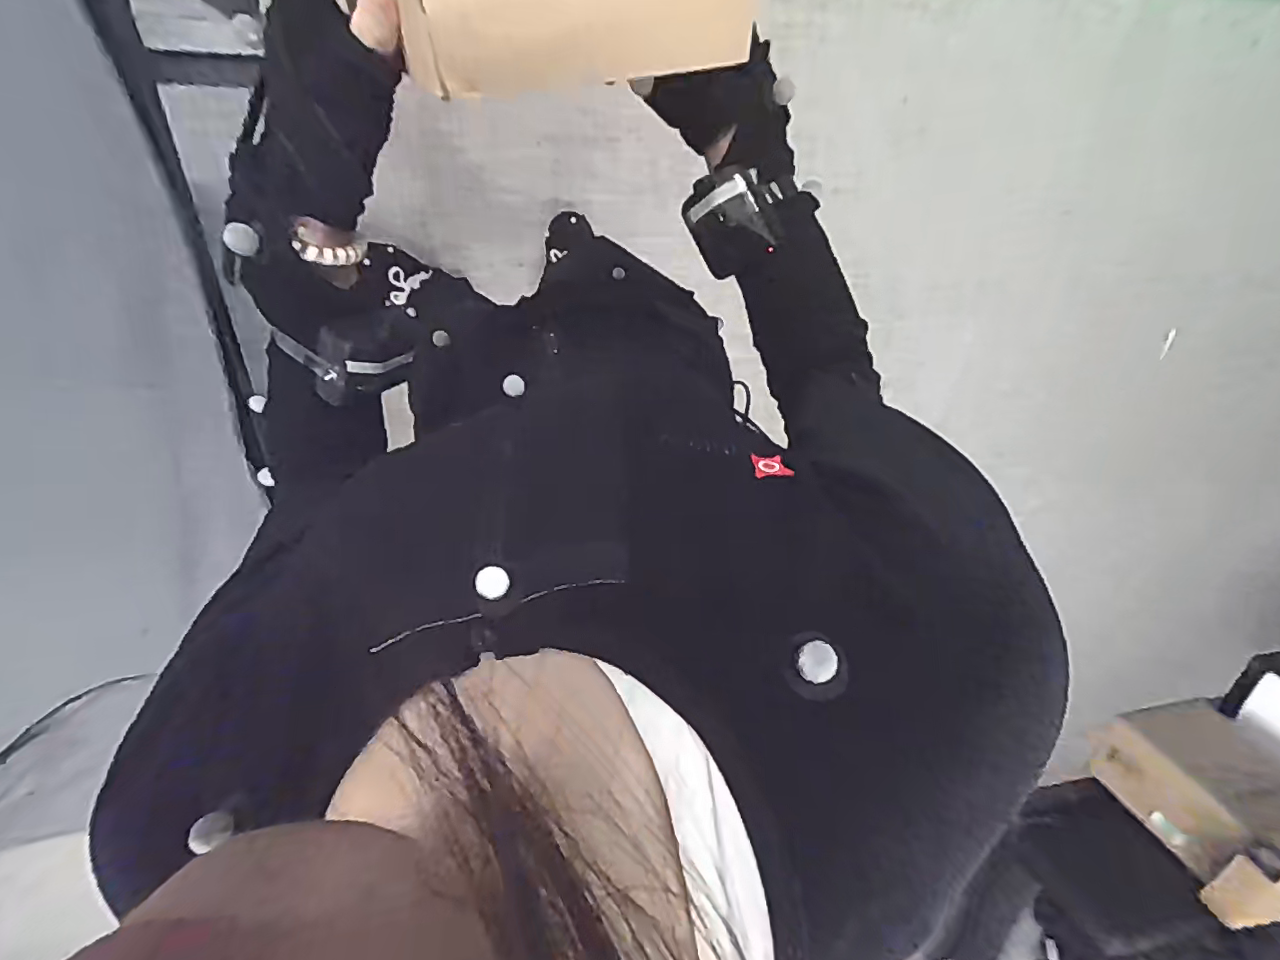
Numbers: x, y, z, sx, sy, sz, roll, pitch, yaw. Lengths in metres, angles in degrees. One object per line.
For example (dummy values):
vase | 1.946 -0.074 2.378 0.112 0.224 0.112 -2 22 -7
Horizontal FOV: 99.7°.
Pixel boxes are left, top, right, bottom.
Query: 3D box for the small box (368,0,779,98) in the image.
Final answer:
small box | -0.042 -0.304 0.253 0.179 0.176 0.168 -24 142 -21
